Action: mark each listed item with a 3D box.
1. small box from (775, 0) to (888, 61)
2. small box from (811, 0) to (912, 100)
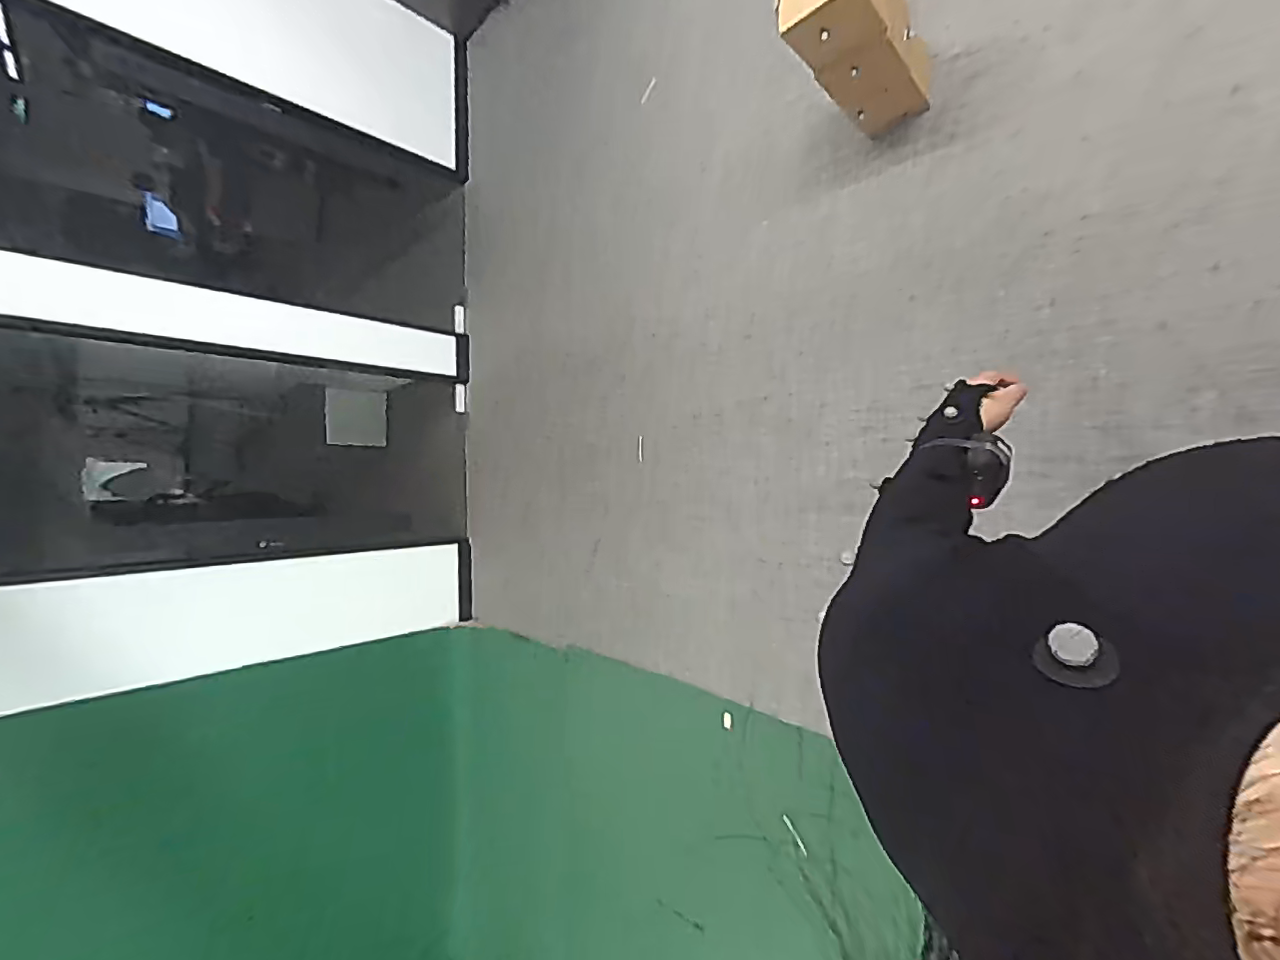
[{"bbox_3d":[0.409,-1.057,1.158,0.179,0.176,0.168,-3,89,46],"label":"small box"},{"bbox_3d":[0.521,-1.052,1.278,0.179,0.176,0.168,-3,89,44],"label":"small box"}]
